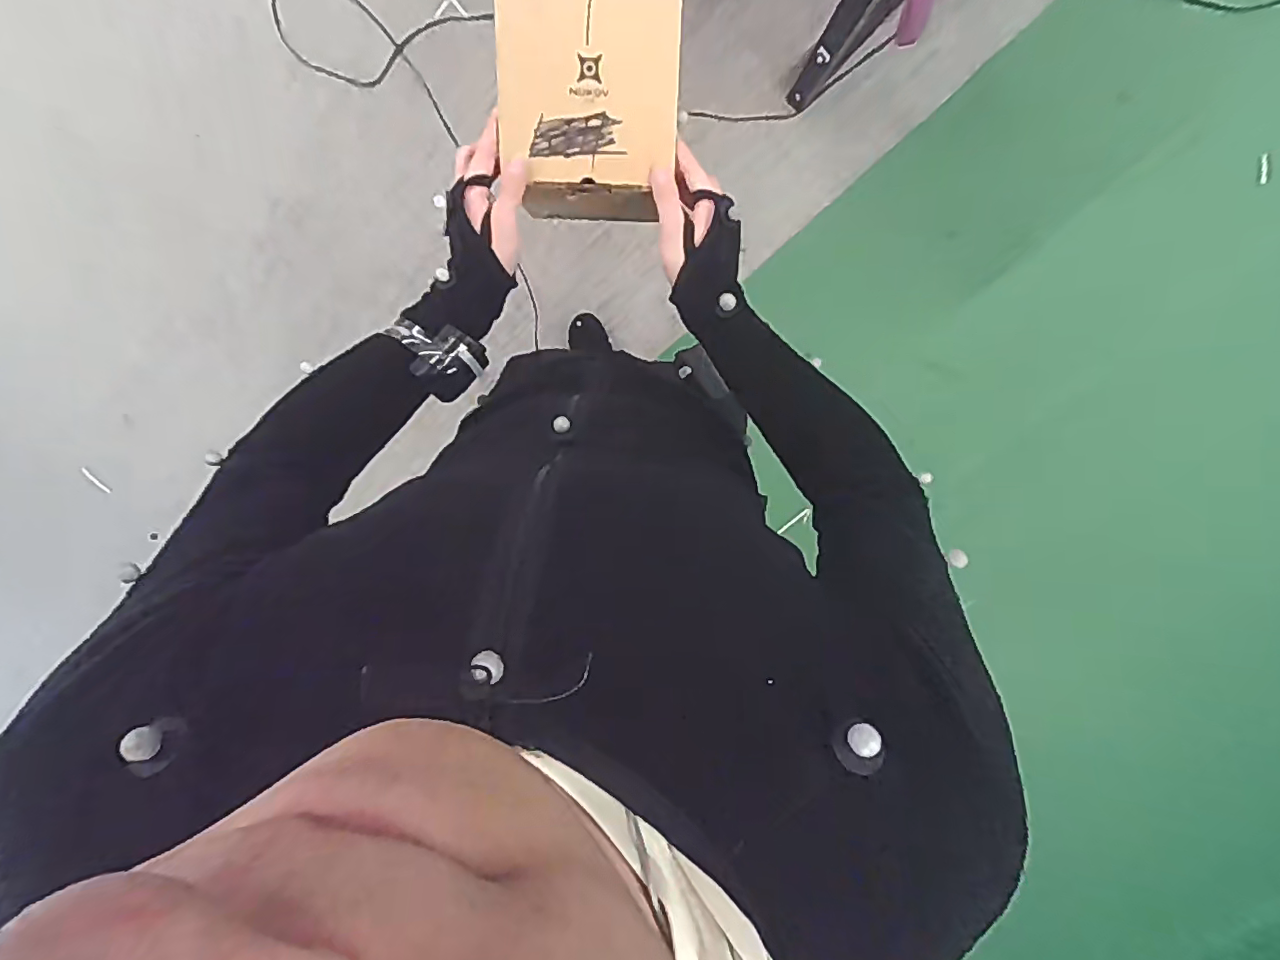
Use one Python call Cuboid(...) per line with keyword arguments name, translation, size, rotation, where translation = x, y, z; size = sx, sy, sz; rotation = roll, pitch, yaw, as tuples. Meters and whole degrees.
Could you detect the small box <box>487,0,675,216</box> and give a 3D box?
Cuboid(name="small box", translation=(-0.054, -0.383, 0.560), size=(0.168, 0.176, 0.179), rotation=(1, 105, -2))
